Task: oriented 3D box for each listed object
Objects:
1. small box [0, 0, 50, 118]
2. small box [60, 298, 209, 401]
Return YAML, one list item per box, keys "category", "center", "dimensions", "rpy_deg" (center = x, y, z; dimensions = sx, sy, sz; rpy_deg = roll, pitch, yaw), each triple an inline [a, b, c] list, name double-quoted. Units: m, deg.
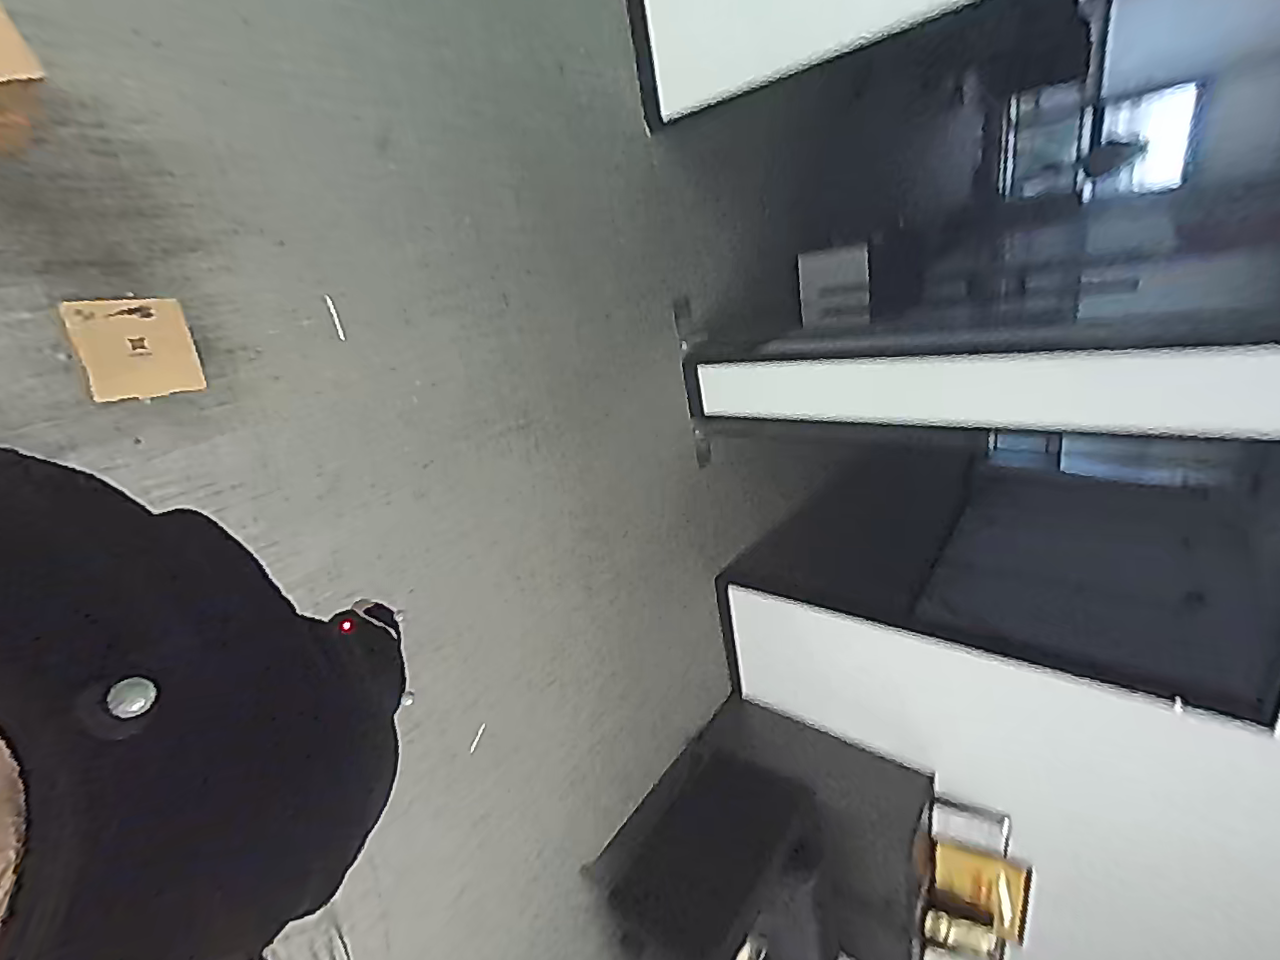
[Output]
- category: "small box"
  center: [-0.972, -0.606, 0.734]
  dimensions: [0.179, 0.176, 0.168]
  rpy_deg: [-43, 128, -37]
- category: "small box"
  center: [-0.976, -0.255, 1.047]
  dimensions: [0.168, 0.176, 0.179]
  rpy_deg: [-23, 114, -46]
